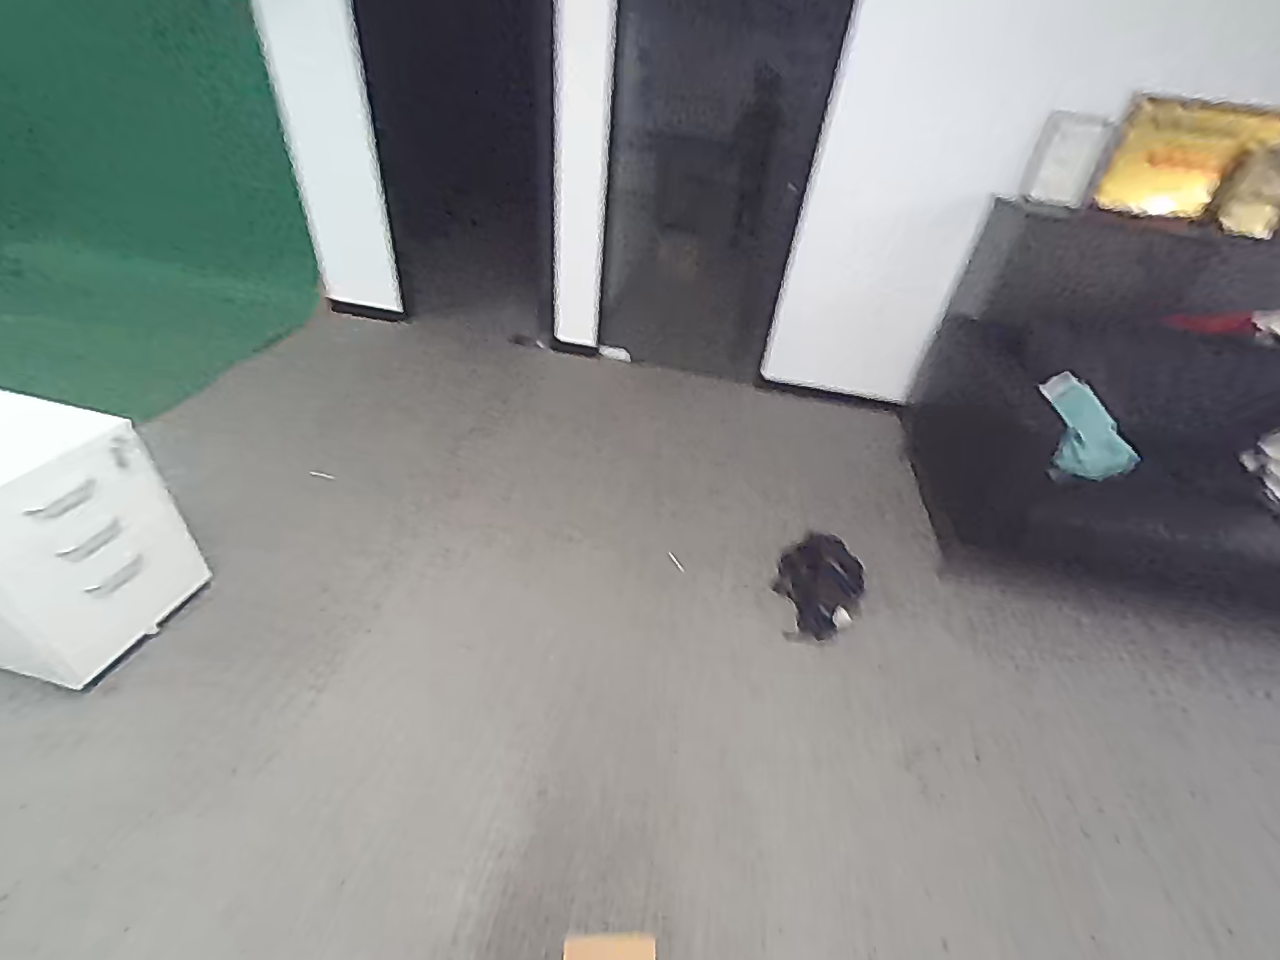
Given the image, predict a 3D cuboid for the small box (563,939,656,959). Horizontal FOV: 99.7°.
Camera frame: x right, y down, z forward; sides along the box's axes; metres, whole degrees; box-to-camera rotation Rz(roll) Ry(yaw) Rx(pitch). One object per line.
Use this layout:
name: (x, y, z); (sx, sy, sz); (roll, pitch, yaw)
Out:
small box: (-0.061, 0.941, 0.949); (0.168, 0.176, 0.179); (4, 38, -5)
